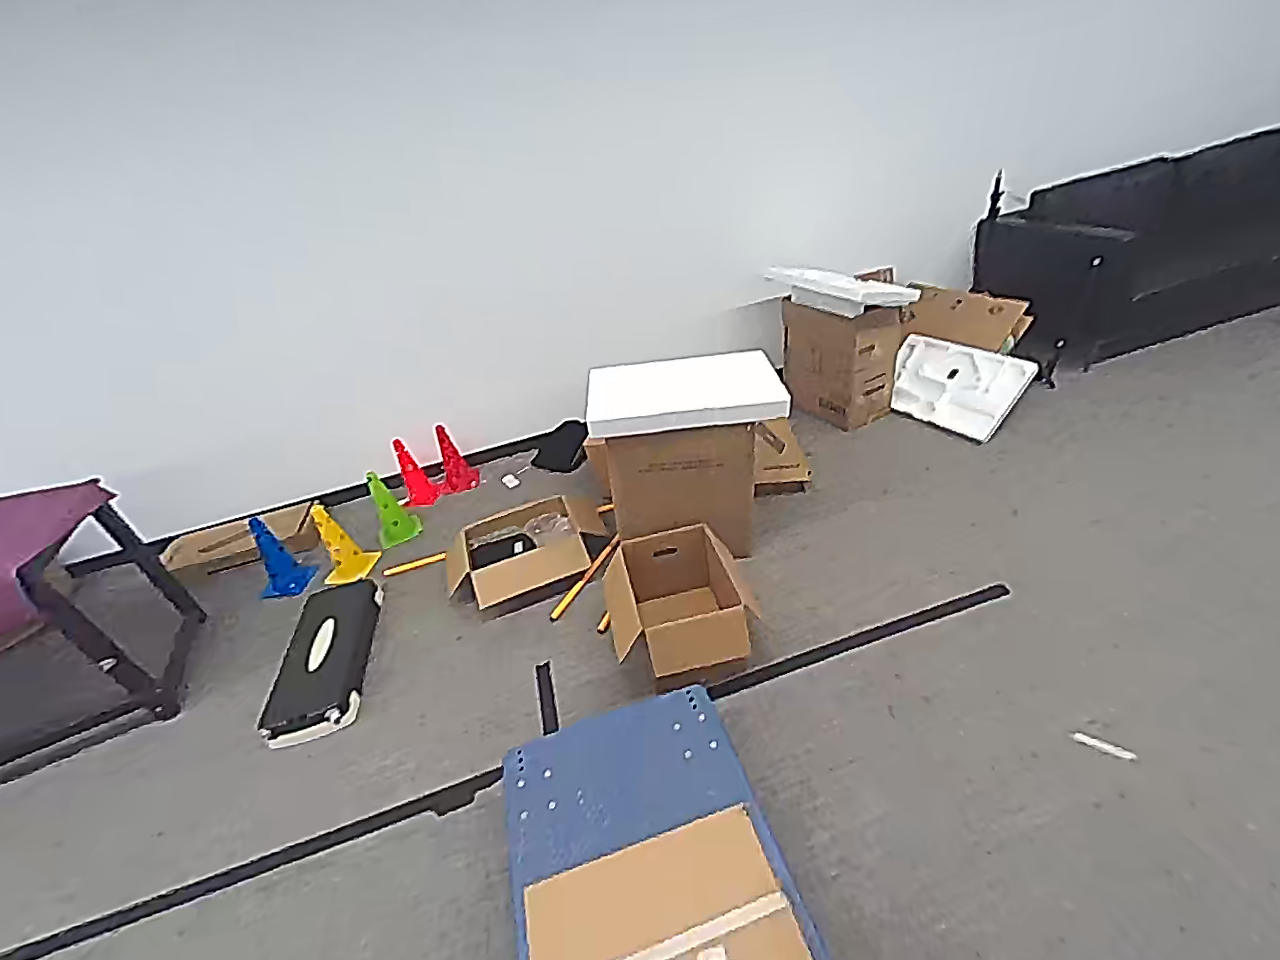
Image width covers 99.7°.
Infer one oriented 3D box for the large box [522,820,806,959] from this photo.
[{"bbox_3d":[0.055,0.846,0.868,0.408,0.320,0.320,-15,33,-10],"label":"large box"}]
